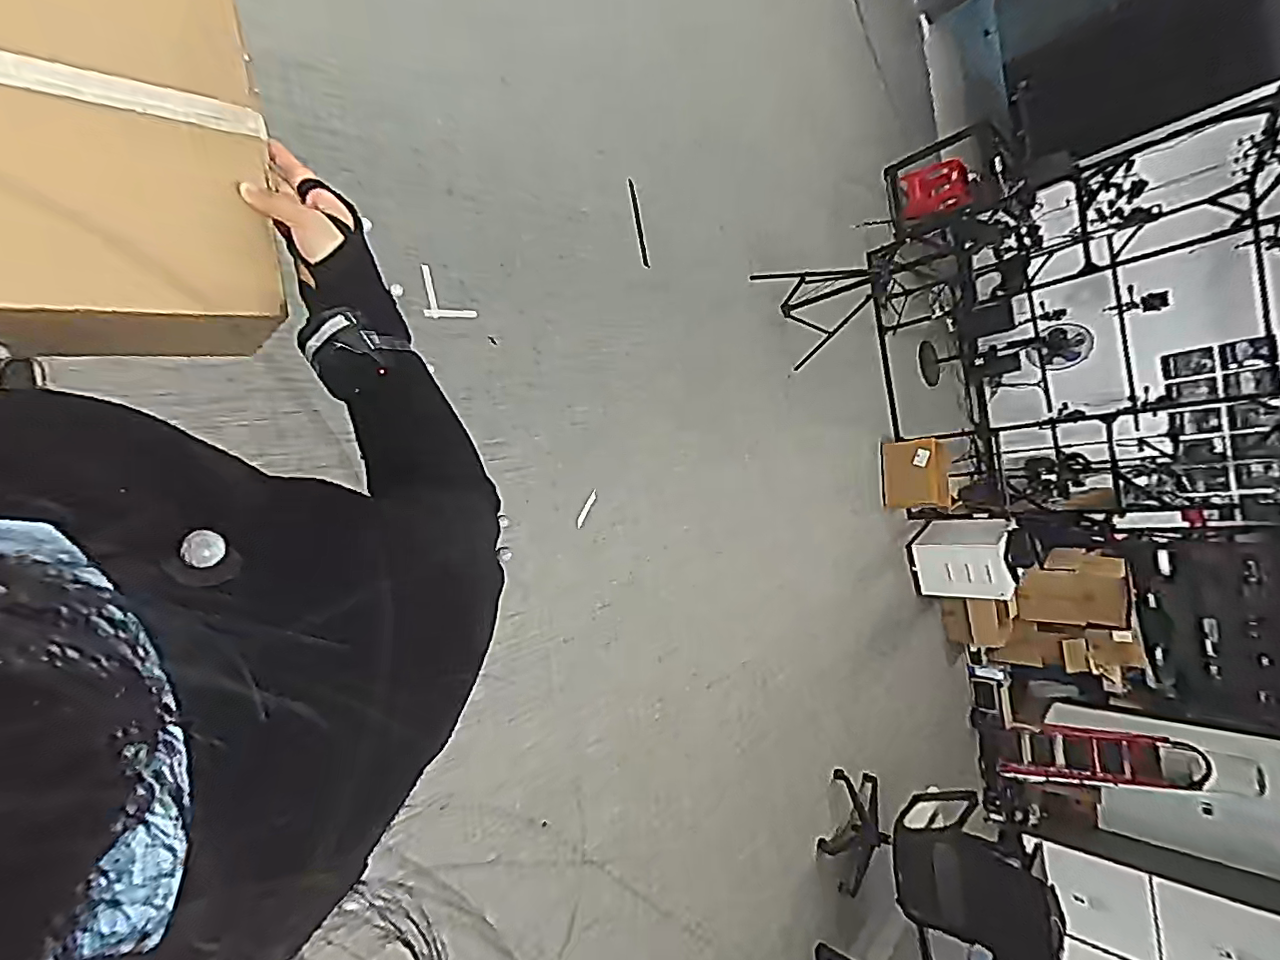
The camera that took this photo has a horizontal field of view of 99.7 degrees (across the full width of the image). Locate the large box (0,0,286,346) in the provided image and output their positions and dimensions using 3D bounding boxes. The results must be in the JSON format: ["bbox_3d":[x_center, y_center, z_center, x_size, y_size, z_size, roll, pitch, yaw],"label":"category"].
[{"bbox_3d":[-0.580,-0.284,0.456,0.408,0.320,0.320,-12,101,-39],"label":"large box"}]
